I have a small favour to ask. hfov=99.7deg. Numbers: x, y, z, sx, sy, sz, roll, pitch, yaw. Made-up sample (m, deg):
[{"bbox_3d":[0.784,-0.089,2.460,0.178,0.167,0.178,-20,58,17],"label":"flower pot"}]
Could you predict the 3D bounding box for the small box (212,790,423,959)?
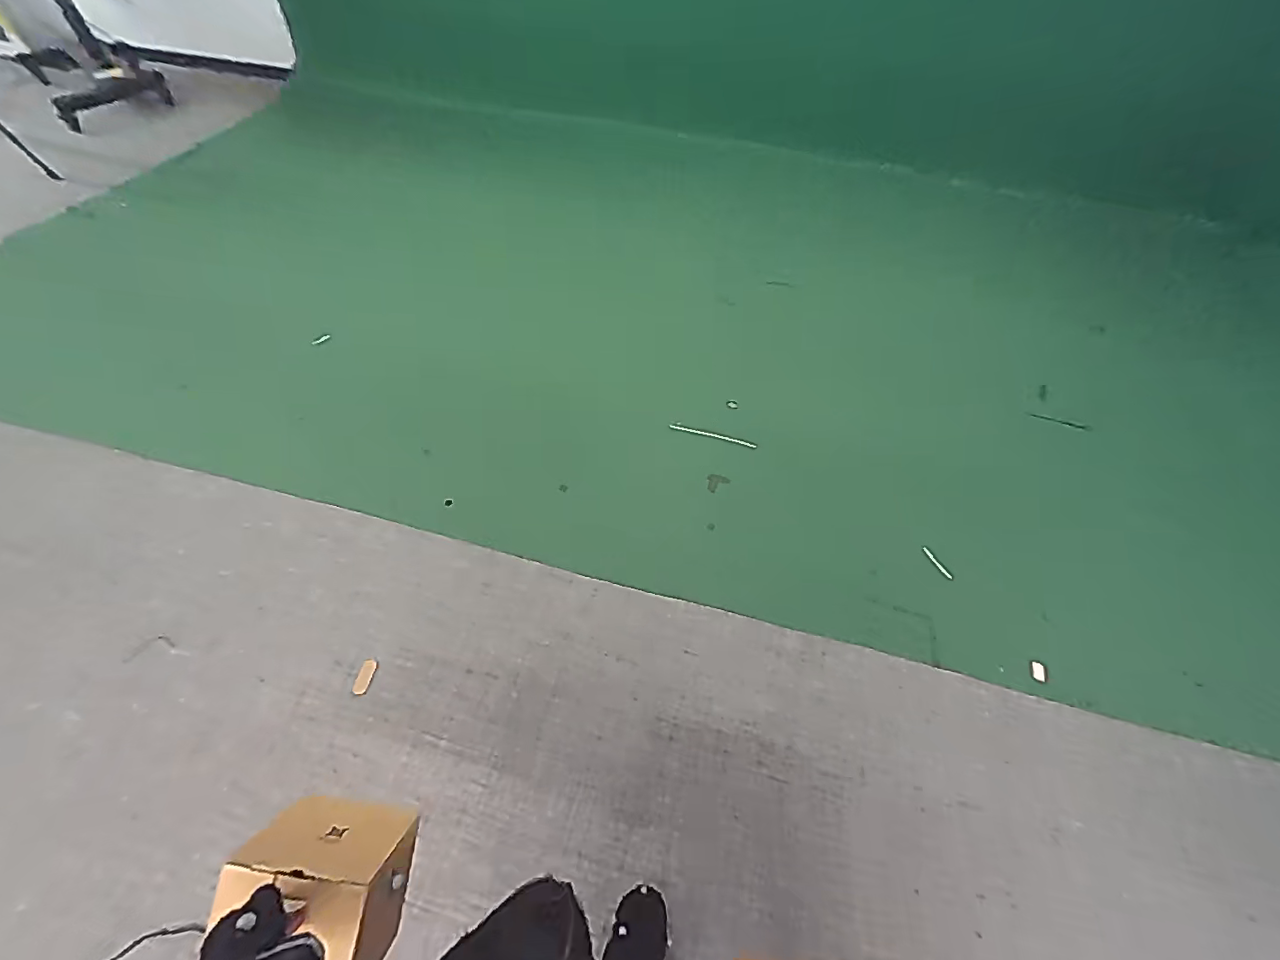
[{"bbox_3d":[-0.404,0.532,0.689,0.168,0.179,0.176,9,84,-1],"label":"small box"}]
